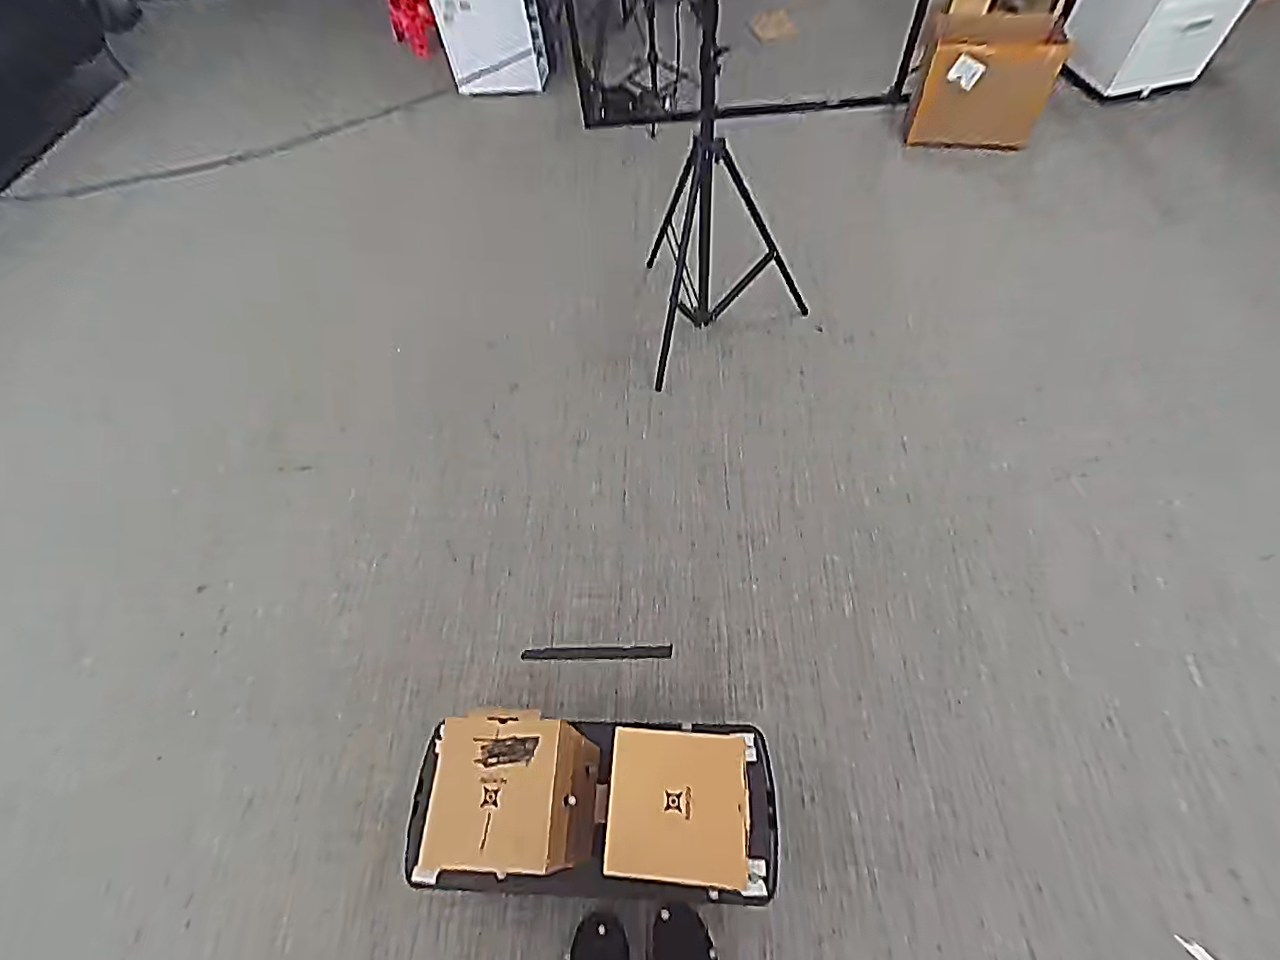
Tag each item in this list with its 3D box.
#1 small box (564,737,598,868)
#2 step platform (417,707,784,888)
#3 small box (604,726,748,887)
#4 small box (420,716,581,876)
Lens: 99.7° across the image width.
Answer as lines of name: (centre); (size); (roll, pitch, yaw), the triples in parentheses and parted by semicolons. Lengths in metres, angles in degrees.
small box: (-0.167, 0.538, 0.913); (0.168, 0.176, 0.179); (0, 58, 6)
step platform: (-0.069, 0.611, 1.062); (0.684, 0.204, 0.286); (-2, 58, 5)
small box: (0.055, 0.450, 0.753); (0.179, 0.176, 0.168); (1, 59, 6)
small box: (-0.183, 0.449, 0.775); (0.168, 0.176, 0.179); (0, 59, 5)
